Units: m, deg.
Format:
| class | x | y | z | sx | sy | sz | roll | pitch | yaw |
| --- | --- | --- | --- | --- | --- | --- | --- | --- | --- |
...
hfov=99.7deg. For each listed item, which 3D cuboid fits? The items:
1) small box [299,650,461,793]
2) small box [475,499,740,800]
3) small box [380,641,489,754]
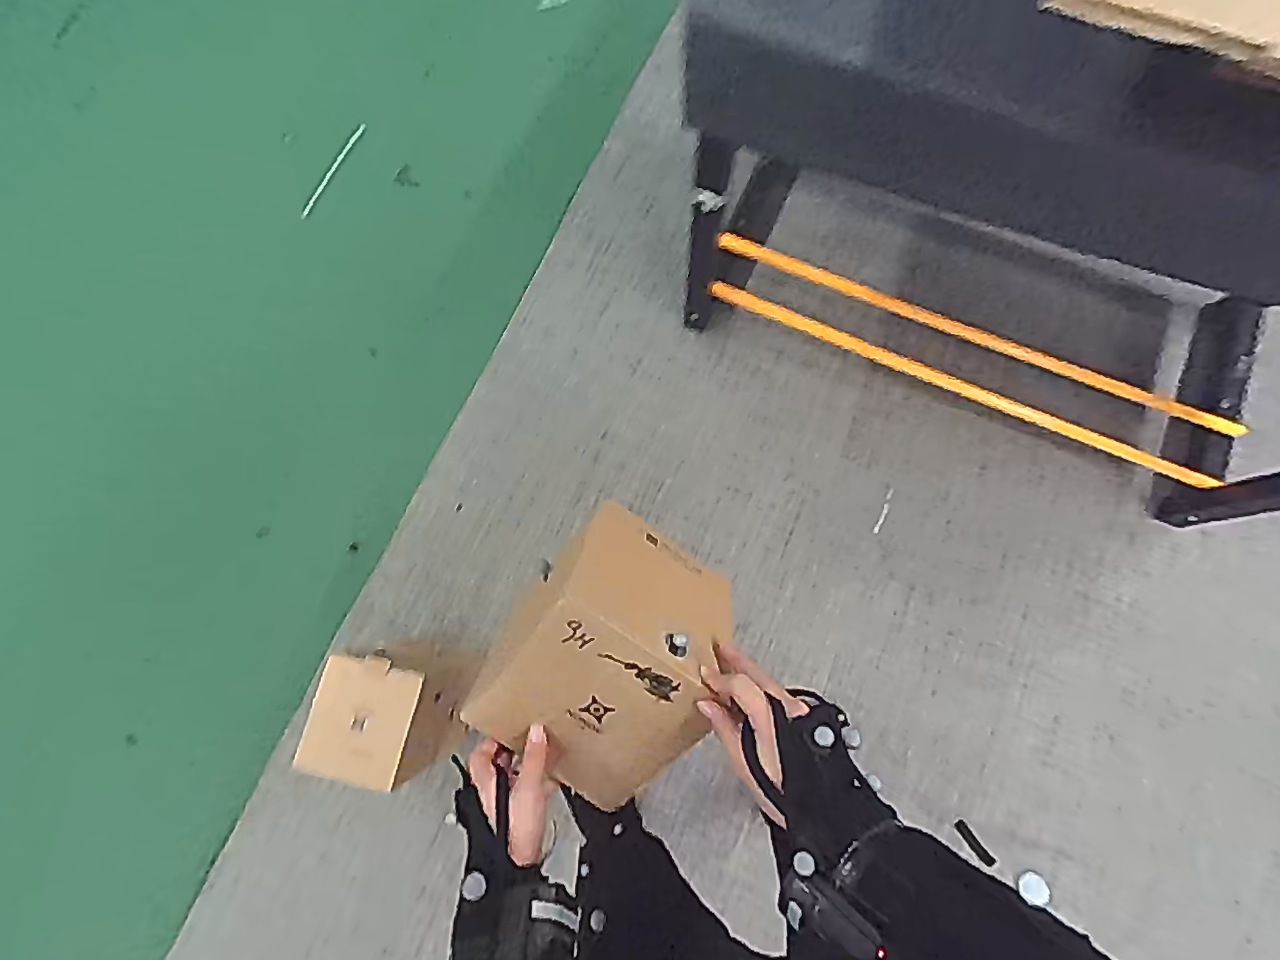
| class | x | y | z | sx | sy | sz | roll | pitch | yaw |
| --- | --- | --- | --- | --- | --- | --- | --- | --- | --- |
| small box | -0.424 | 0.394 | 0.919 | 0.168 | 0.176 | 0.179 | 10 | 78 | 7 |
| small box | -0.020 | 0.153 | 0.519 | 0.168 | 0.176 | 0.179 | 36 | 114 | -8 |
| small box | -0.423 | 0.424 | 1.079 | 0.179 | 0.176 | 0.168 | 13 | 77 | 7 |
